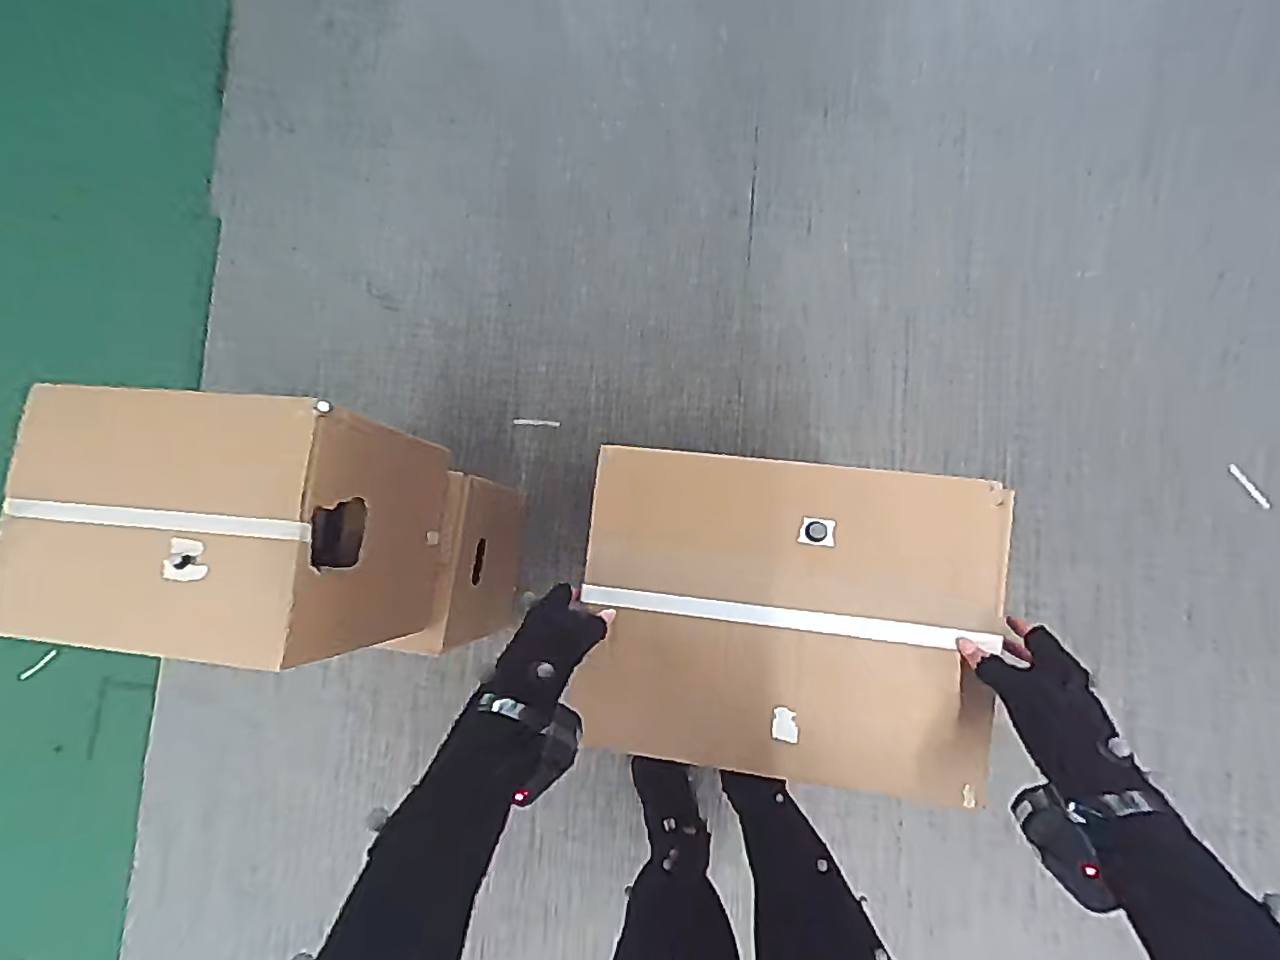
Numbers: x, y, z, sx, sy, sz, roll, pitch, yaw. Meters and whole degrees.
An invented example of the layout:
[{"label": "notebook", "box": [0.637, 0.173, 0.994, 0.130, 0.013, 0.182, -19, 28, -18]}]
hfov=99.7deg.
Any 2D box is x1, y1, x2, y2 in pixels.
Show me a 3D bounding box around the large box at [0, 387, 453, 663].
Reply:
[{"label": "large box", "box": [-0.549, 0.066, 0.795, 0.408, 0.320, 0.320, 4, 83, 7]}]
